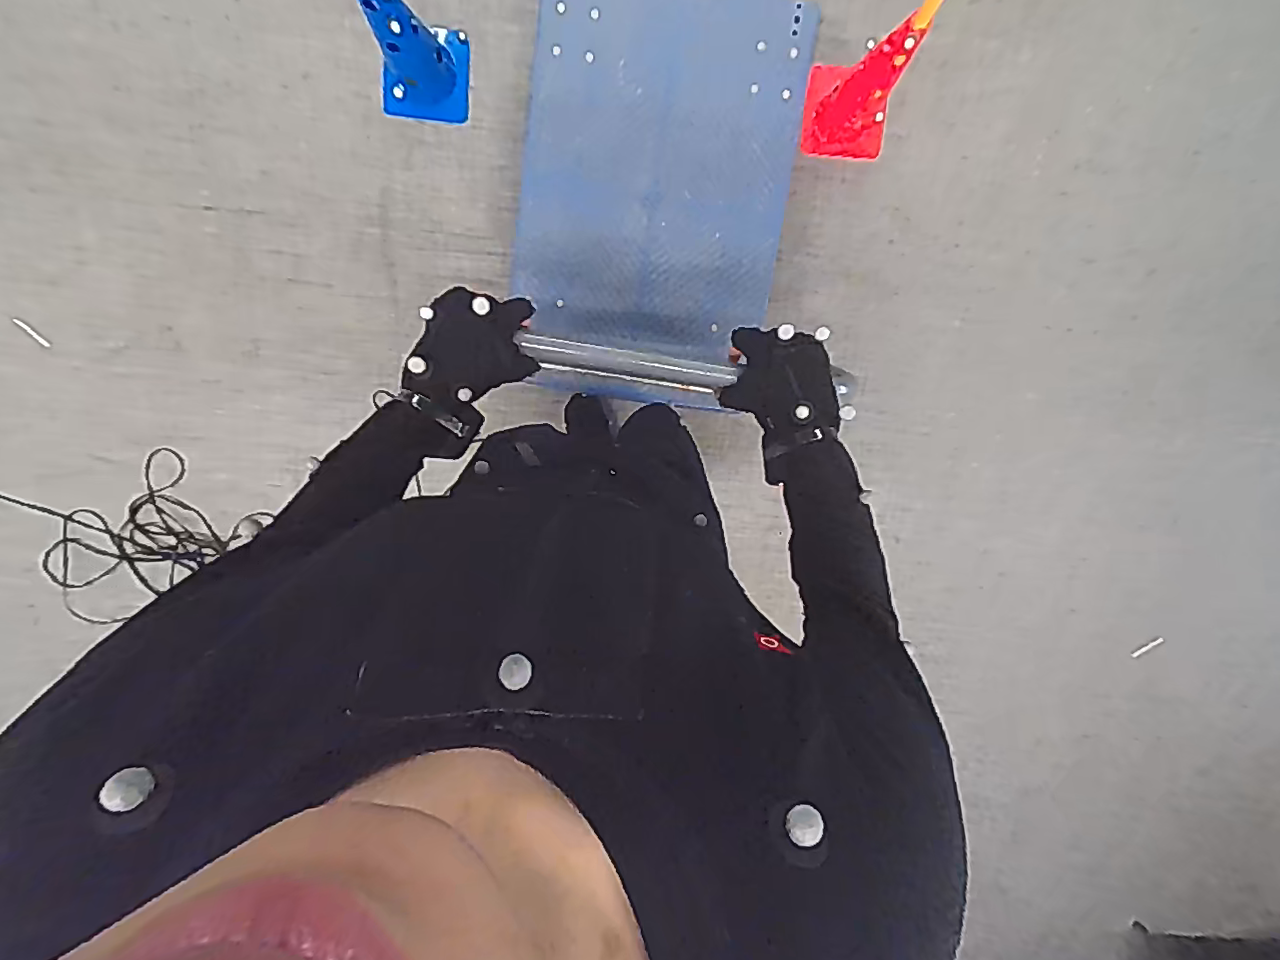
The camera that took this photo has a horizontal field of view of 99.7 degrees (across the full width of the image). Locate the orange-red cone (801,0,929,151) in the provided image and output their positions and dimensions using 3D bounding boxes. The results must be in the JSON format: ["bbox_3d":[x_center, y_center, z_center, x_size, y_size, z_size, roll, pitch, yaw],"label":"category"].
[{"bbox_3d":[0.502,-0.885,1.151,0.199,0.360,0.198,5,100,-1],"label":"orange-red cone"}]
